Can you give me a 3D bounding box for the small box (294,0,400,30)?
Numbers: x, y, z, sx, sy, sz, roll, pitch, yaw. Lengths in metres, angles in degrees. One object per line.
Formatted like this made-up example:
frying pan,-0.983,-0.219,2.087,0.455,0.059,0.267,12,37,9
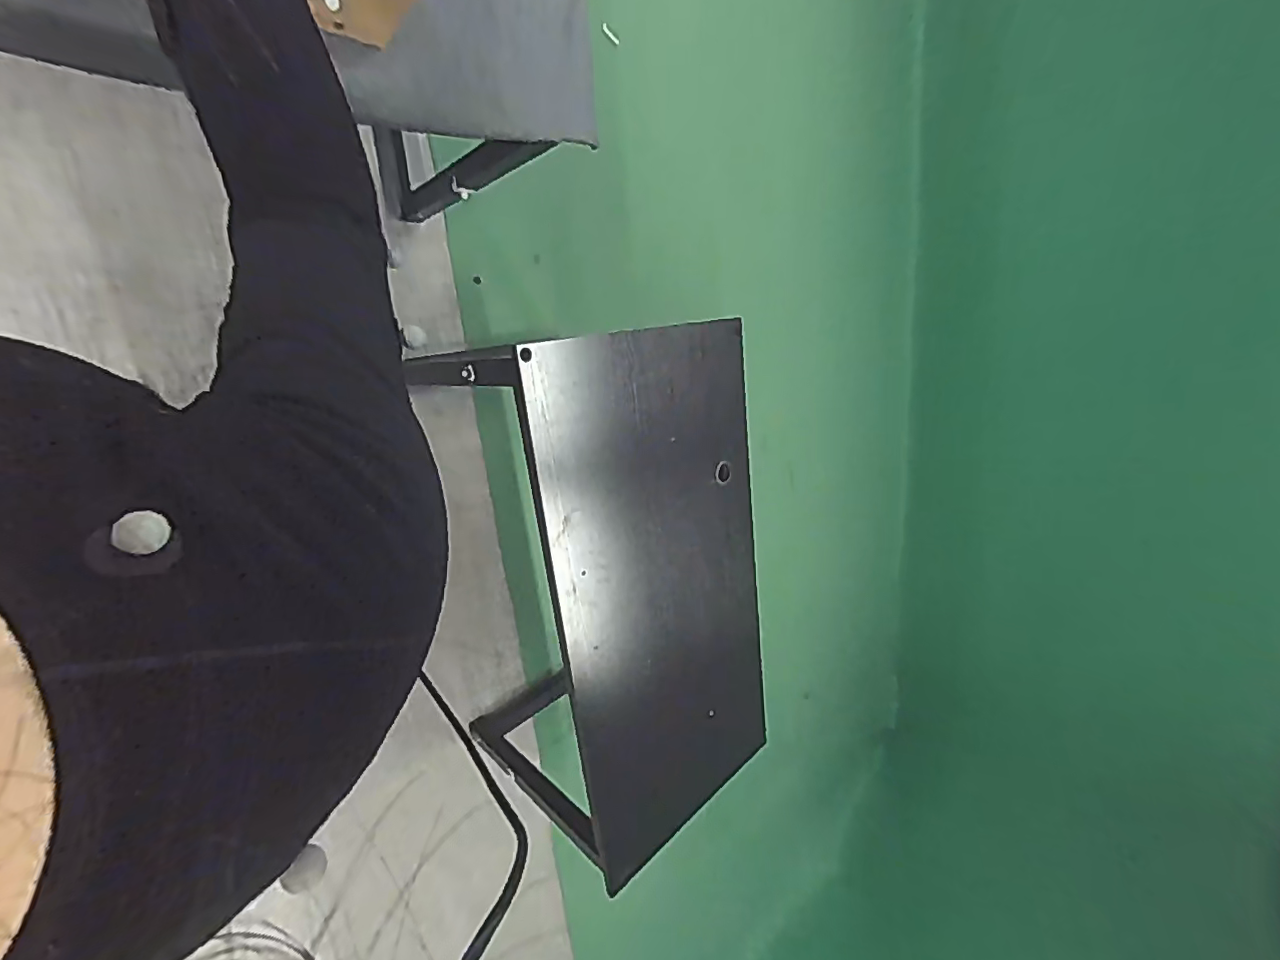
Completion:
small box,-0.332,-0.612,0.548,0.168,0.176,0.179,-15,107,-40
